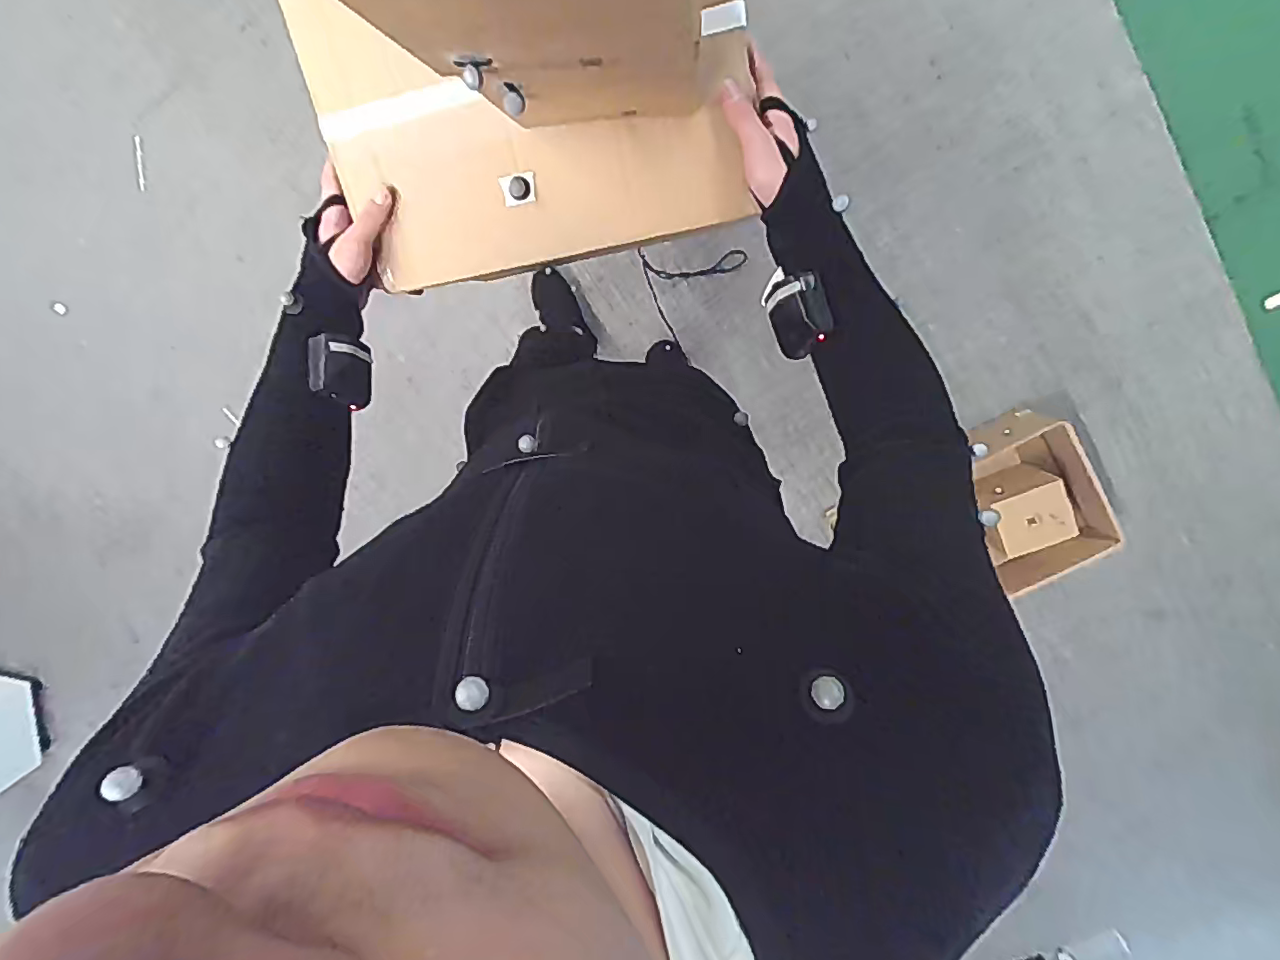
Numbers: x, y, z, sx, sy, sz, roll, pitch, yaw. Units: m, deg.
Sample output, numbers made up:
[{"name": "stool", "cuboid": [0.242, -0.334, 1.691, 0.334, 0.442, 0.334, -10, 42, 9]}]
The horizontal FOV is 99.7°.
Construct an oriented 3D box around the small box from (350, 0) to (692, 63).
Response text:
[{"name": "small box", "cuboid": [-0.058, -0.304, 0.230, 0.168, 0.176, 0.179, 1, 112, 4]}]
